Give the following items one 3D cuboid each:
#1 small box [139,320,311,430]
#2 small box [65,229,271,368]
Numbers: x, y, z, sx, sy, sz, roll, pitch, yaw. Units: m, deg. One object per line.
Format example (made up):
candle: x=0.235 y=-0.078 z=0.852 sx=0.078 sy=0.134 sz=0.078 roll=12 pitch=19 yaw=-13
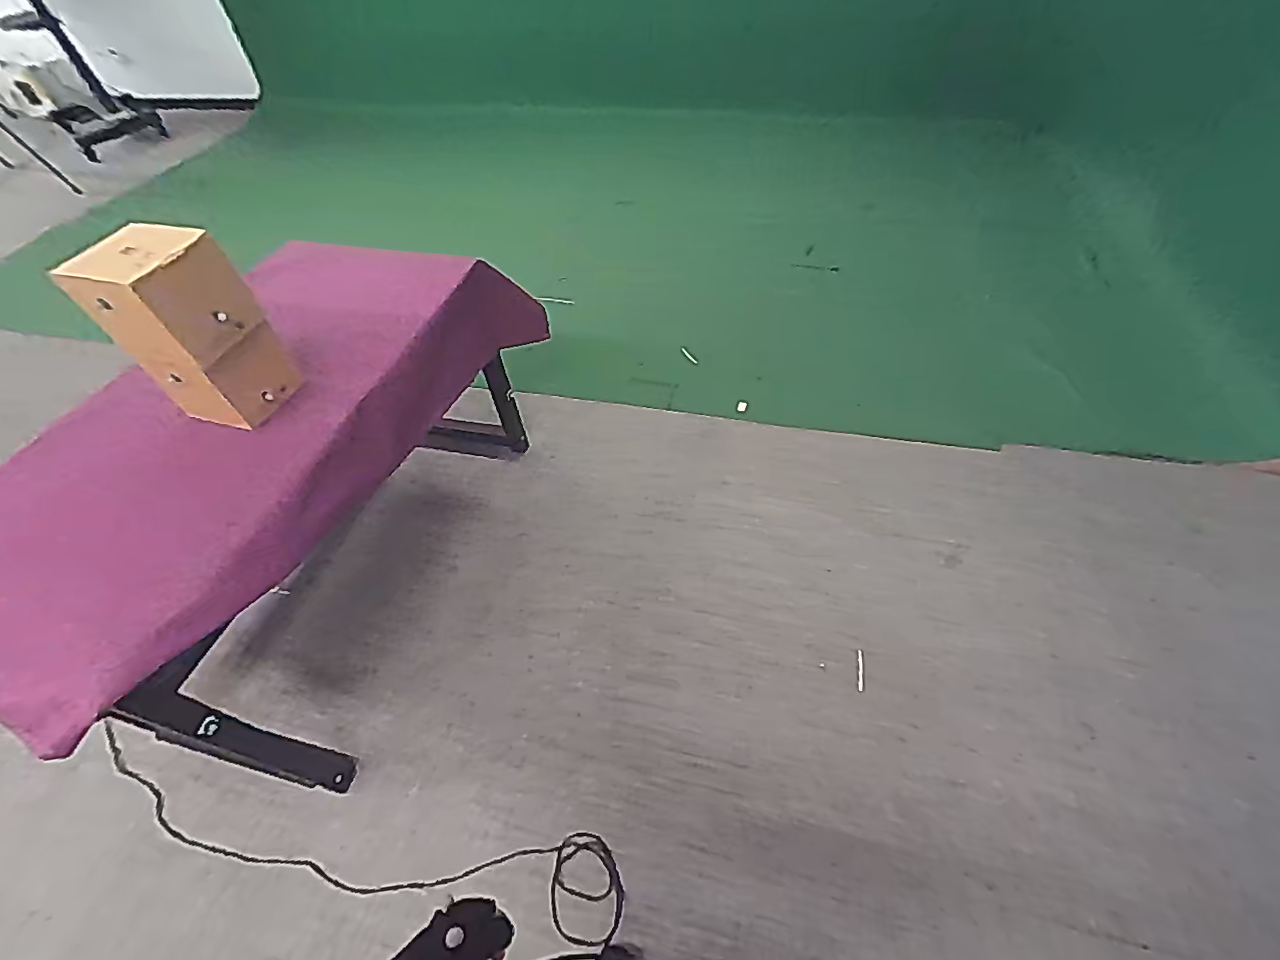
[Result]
small box: x=-0.820 y=-0.221 z=1.089 sx=0.179 sy=0.176 sz=0.168 roll=13 pitch=54 yaw=14
small box: x=-0.816 y=-0.318 z=0.956 sx=0.179 sy=0.176 sz=0.168 roll=12 pitch=54 yaw=13
